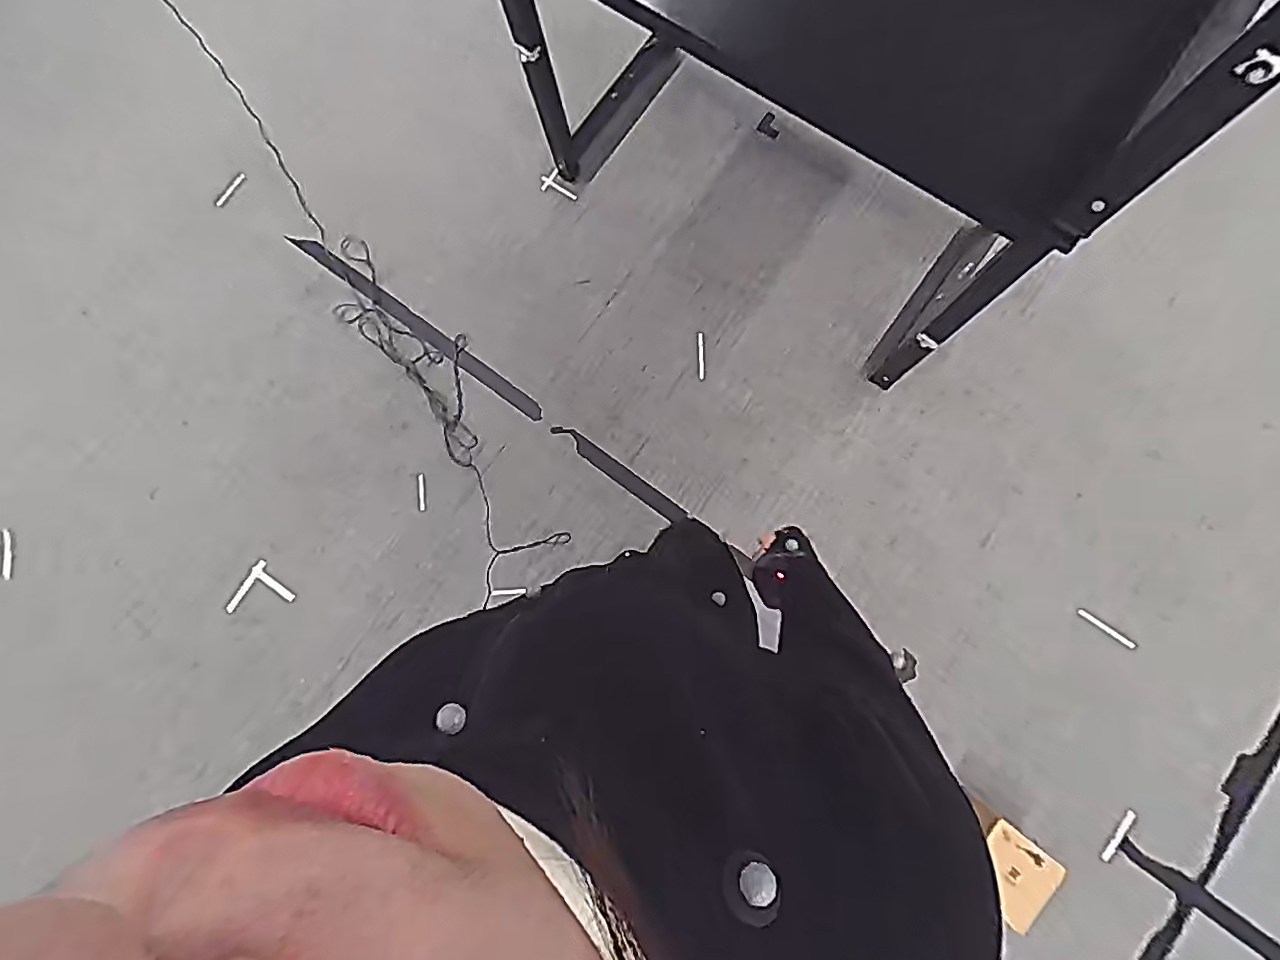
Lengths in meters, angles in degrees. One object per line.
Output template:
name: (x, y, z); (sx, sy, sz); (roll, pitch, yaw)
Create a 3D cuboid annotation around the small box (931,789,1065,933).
small box: (0.818, 0.875, 1.261); (0.168, 0.176, 0.179); (38, 88, 8)
